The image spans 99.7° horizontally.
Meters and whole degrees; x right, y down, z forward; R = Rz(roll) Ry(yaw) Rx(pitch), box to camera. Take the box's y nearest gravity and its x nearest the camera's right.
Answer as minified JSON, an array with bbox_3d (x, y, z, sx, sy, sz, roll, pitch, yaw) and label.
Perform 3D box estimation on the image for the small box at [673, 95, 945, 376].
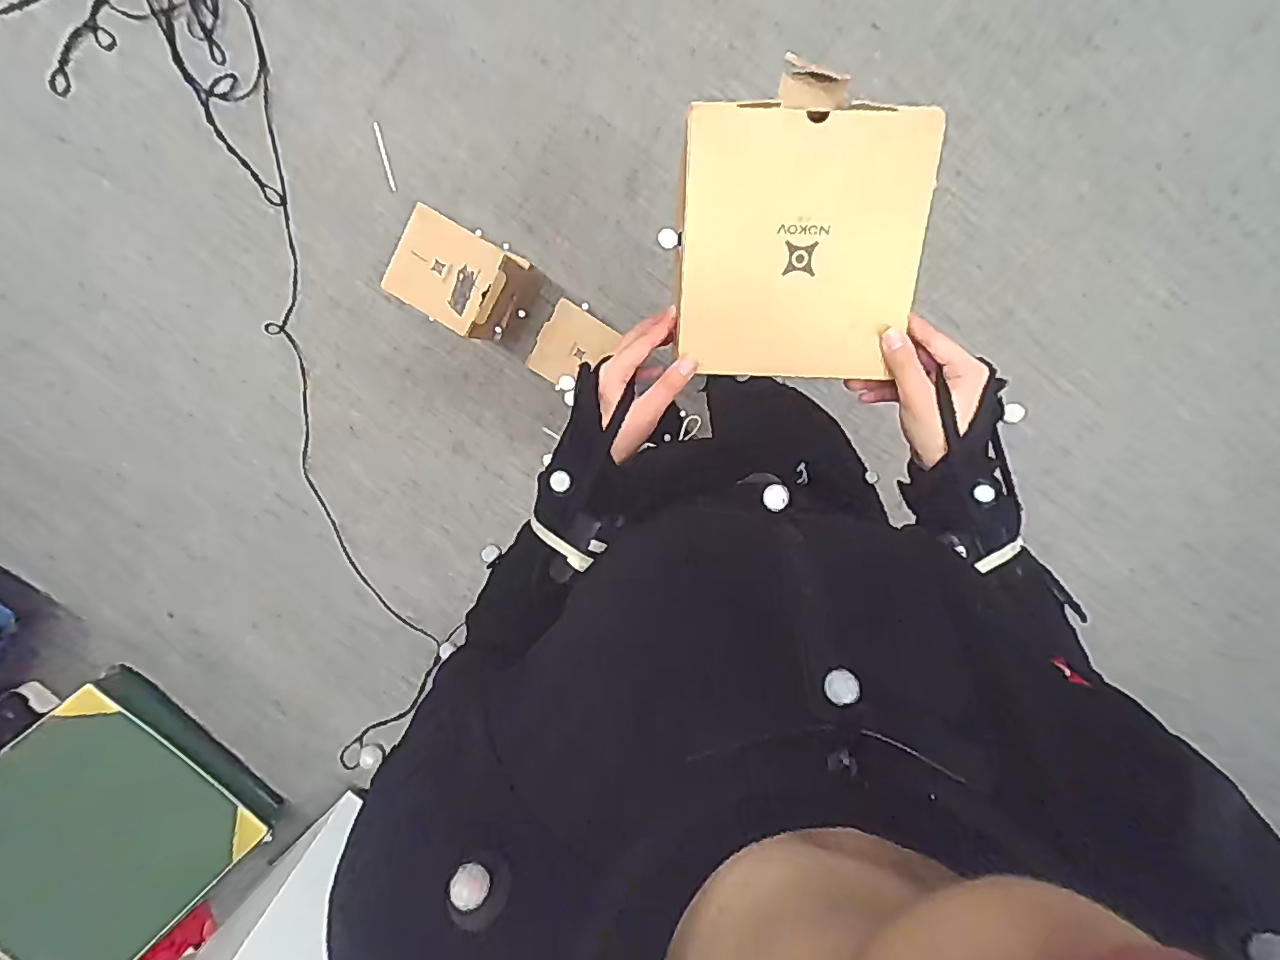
[{"bbox_3d":[0.113,-0.188,0.446,0.168,0.176,0.179,2,109,2],"label":"small box"}]

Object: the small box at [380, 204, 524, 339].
[{"bbox_3d":[-0.344,-0.382,1.025,0.179,0.176,0.168,30,100,-5],"label":"small box"}]

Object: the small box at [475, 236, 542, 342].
[{"bbox_3d":[-0.330,-0.415,1.187,0.168,0.176,0.179,25,101,-4],"label":"small box"}]
